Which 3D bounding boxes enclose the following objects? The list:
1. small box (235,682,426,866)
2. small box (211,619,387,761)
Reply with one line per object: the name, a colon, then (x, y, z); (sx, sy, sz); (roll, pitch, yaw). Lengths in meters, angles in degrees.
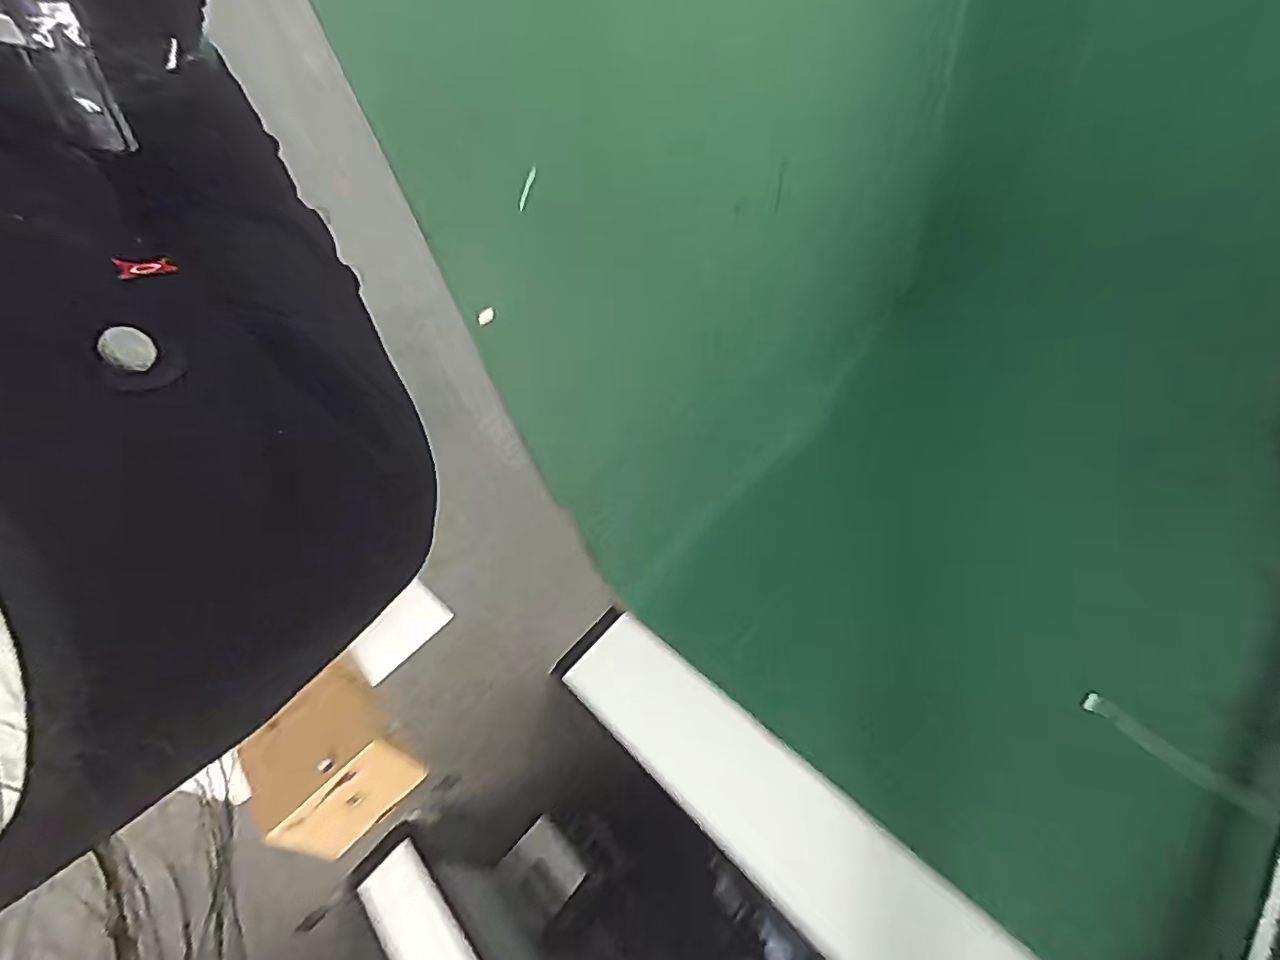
small box: (-0.474, 0.449, 0.837); (0.168, 0.176, 0.179); (-41, 141, -21)
small box: (-0.583, 0.375, 0.930); (0.179, 0.176, 0.168); (-40, 141, -22)
